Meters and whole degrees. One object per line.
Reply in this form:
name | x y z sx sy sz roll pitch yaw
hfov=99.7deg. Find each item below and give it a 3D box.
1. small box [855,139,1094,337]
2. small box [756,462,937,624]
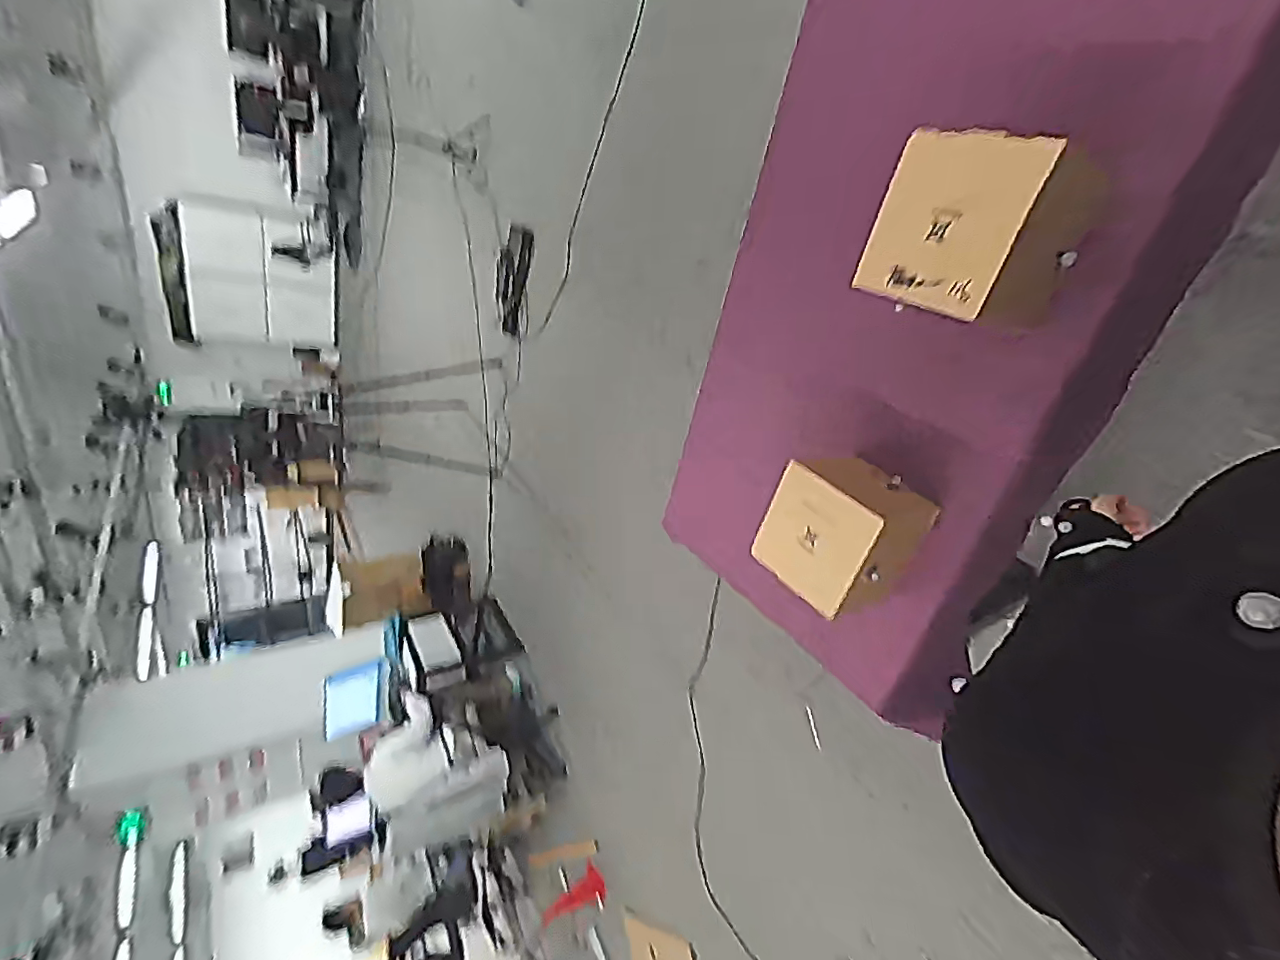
small box | 0.407 -0.288 0.660 0.168 0.176 0.179 41 125 43
small box | 0.315 0.086 0.829 0.168 0.176 0.179 42 125 41
